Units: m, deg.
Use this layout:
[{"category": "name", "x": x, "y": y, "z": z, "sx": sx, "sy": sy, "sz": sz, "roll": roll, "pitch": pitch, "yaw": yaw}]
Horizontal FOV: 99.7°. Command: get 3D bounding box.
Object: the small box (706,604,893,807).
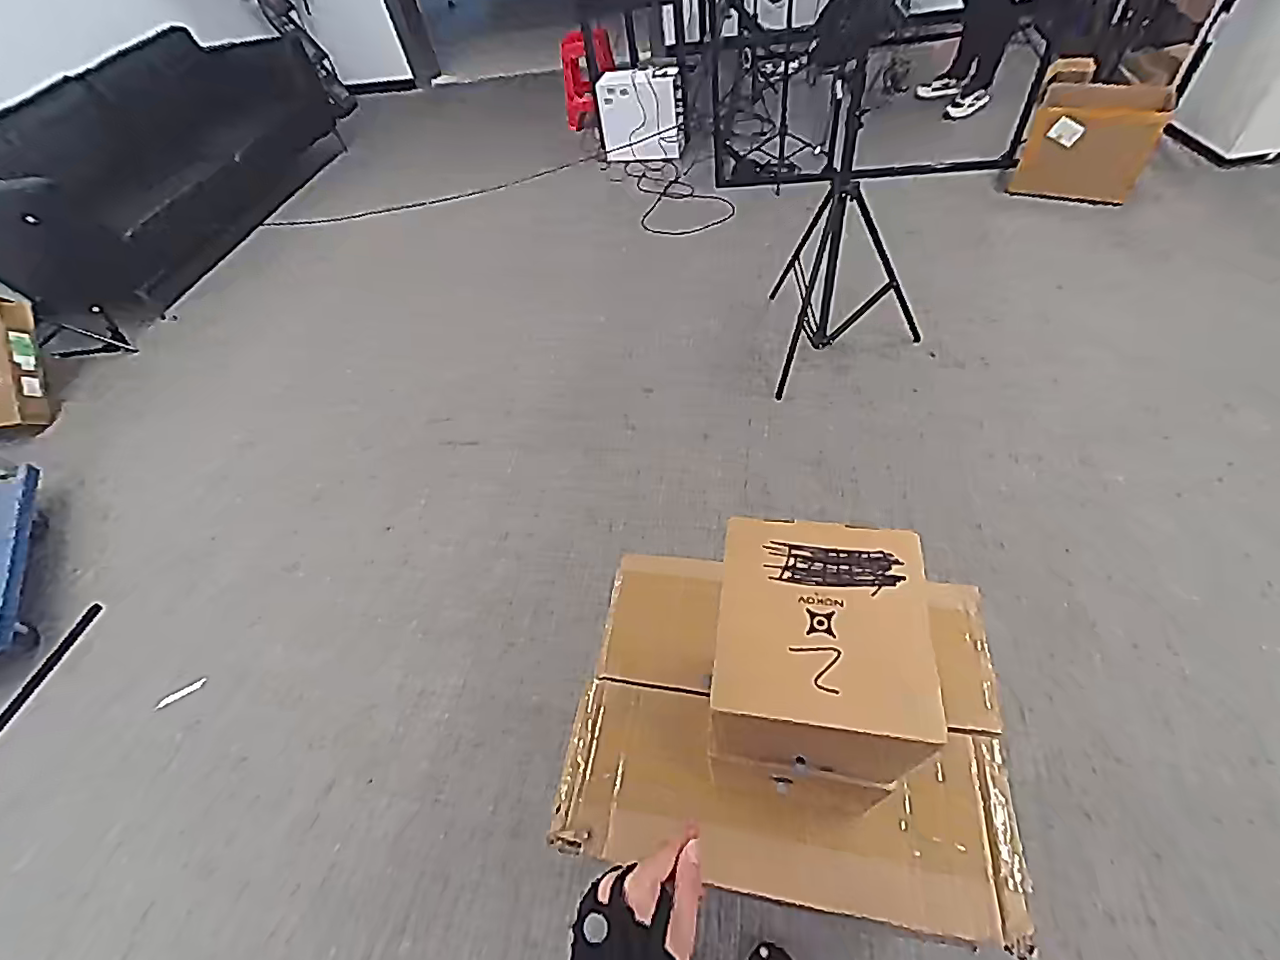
[{"category": "small box", "x": 0.176, "y": 0.261, "z": 0.624, "sx": 0.179, "sy": 0.176, "sz": 0.168, "roll": 4, "pitch": 53, "yaw": 13}]
